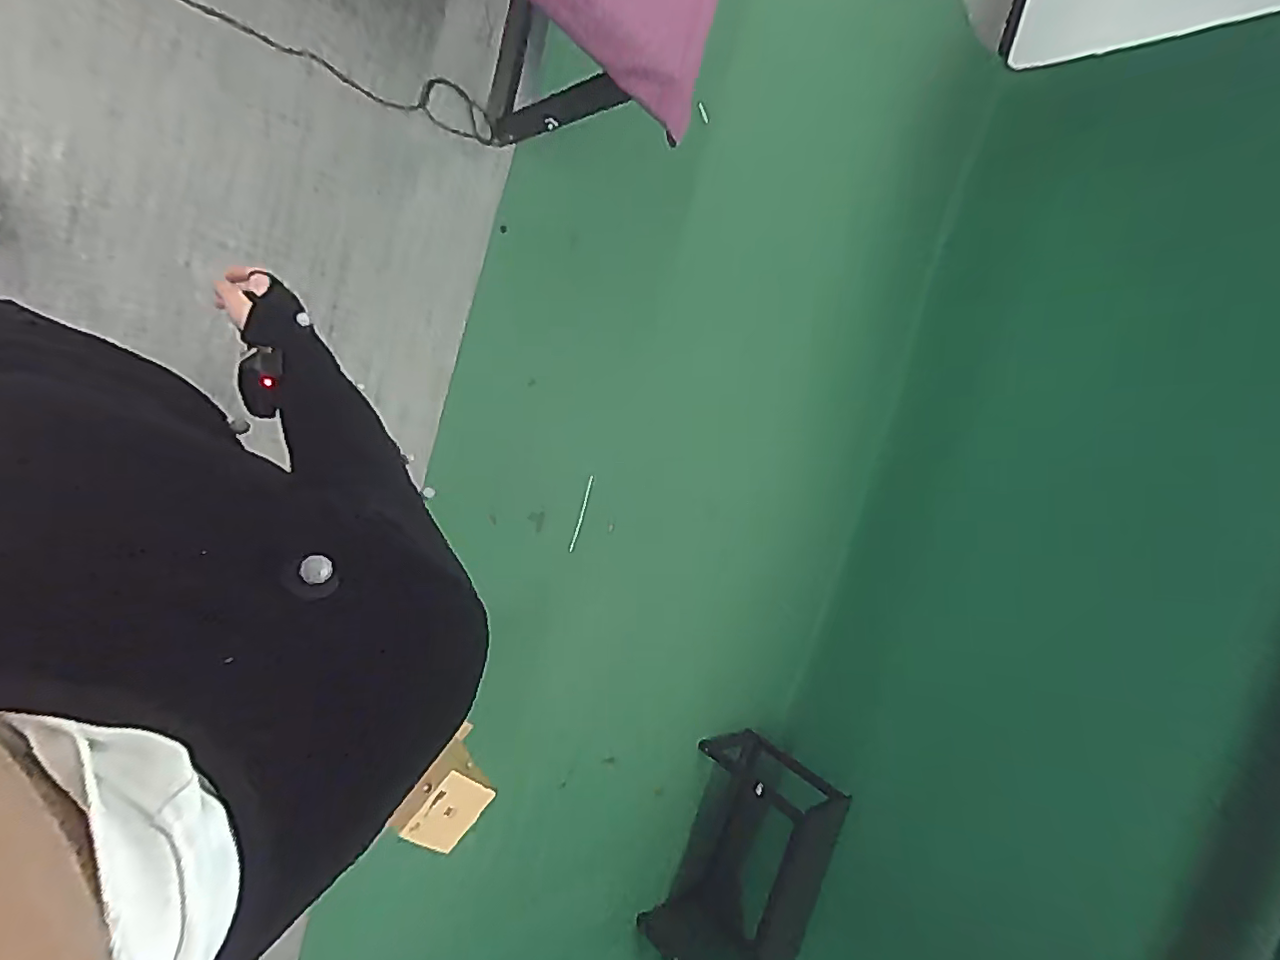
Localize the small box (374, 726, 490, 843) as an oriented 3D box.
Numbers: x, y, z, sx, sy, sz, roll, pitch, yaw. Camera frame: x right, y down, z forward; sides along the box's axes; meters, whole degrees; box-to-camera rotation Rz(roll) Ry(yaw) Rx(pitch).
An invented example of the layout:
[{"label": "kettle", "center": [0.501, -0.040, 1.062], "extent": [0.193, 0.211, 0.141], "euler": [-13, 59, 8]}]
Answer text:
[{"label": "small box", "center": [-0.511, 0.744, 1.331], "extent": [0.168, 0.176, 0.179], "euler": [-49, 133, -20]}]
